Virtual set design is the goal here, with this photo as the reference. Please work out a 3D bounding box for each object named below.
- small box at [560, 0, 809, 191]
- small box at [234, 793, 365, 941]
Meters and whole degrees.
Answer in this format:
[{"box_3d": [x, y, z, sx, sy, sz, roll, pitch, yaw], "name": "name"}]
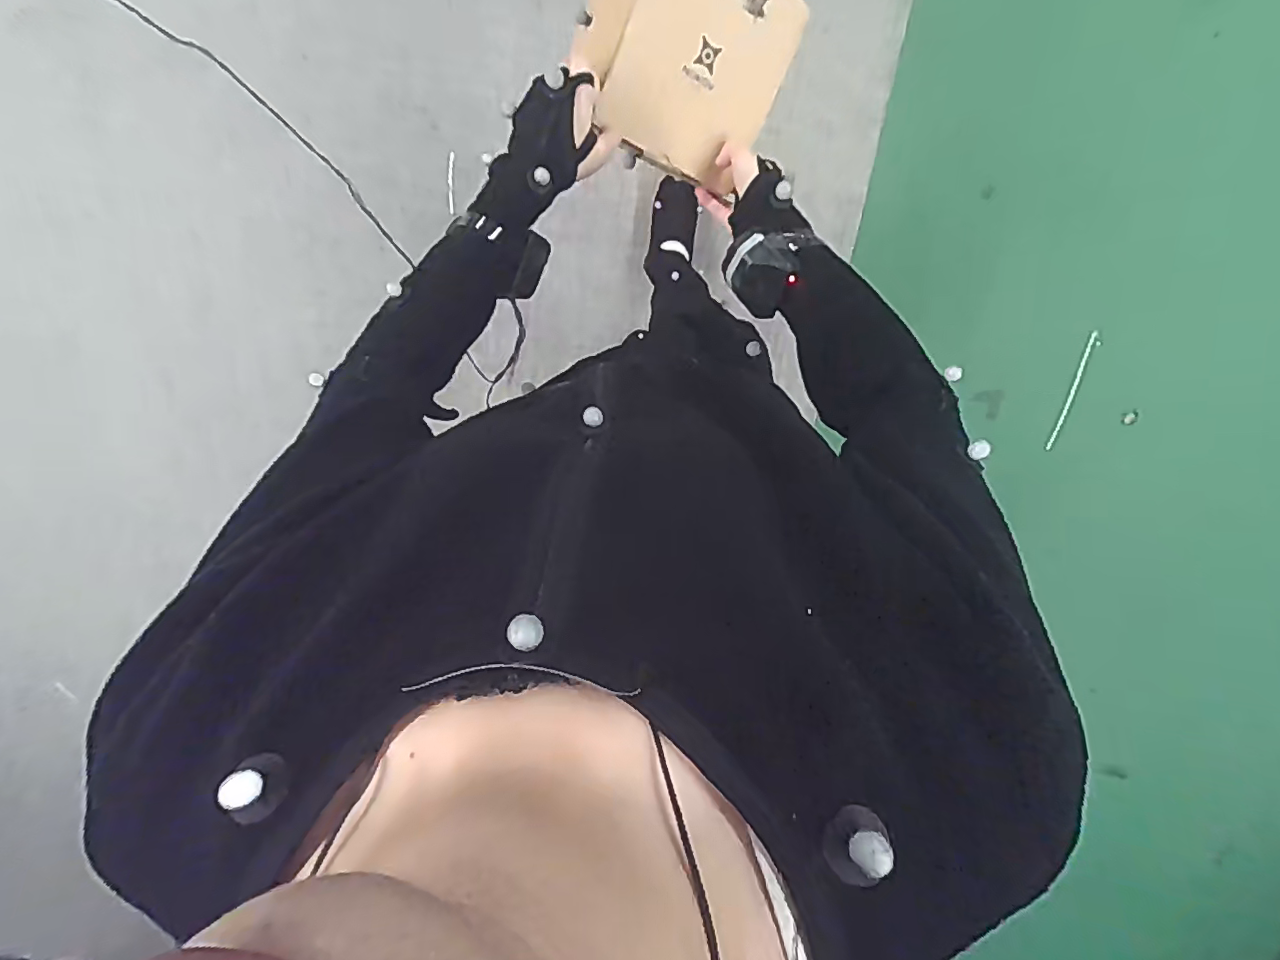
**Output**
[{"box_3d": [0.029, -0.435, 0.555, 0.168, 0.176, 0.179, 11, 122, -30], "name": "small box"}, {"box_3d": [-0.692, 0.789, 1.115, 0.168, 0.176, 0.179, 14, 108, -2], "name": "small box"}]
